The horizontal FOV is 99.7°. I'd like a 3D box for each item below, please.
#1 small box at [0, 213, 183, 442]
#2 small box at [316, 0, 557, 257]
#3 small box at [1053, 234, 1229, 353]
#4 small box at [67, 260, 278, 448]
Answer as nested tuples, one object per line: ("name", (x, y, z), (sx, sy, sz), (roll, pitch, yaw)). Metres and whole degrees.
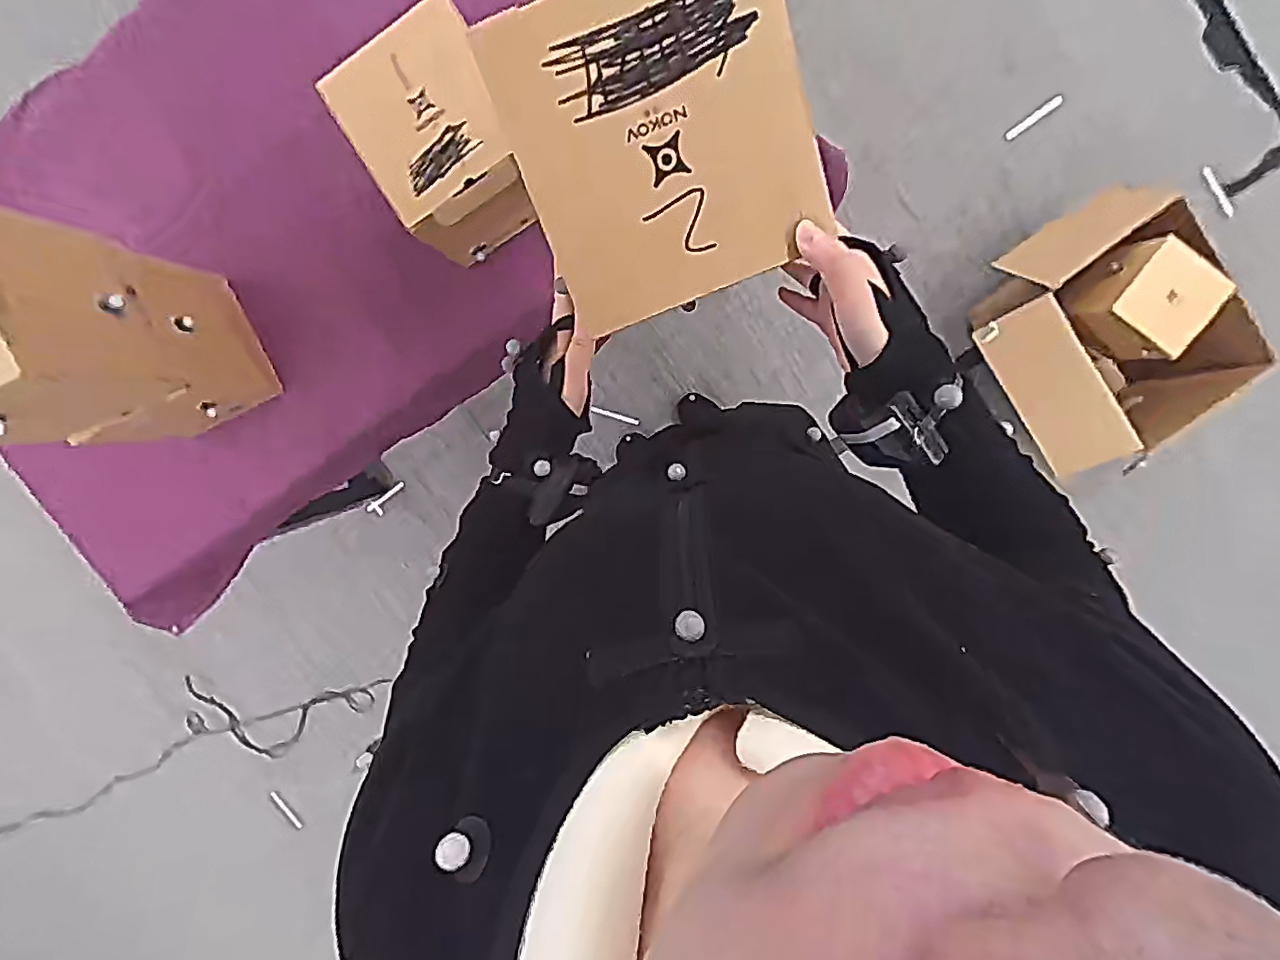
("small box", (-0.622, -0.138, 0.531), (0.179, 0.176, 0.168), (-22, 98, 5))
("small box", (-0.220, -0.389, 0.639), (0.168, 0.176, 0.179), (-32, 95, 7))
("small box", (1.032, -0.378, 1.134), (0.179, 0.176, 0.168), (32, 101, -6))
("small box", (-0.619, -0.158, 0.694), (0.168, 0.176, 0.179), (-23, 96, 5))
